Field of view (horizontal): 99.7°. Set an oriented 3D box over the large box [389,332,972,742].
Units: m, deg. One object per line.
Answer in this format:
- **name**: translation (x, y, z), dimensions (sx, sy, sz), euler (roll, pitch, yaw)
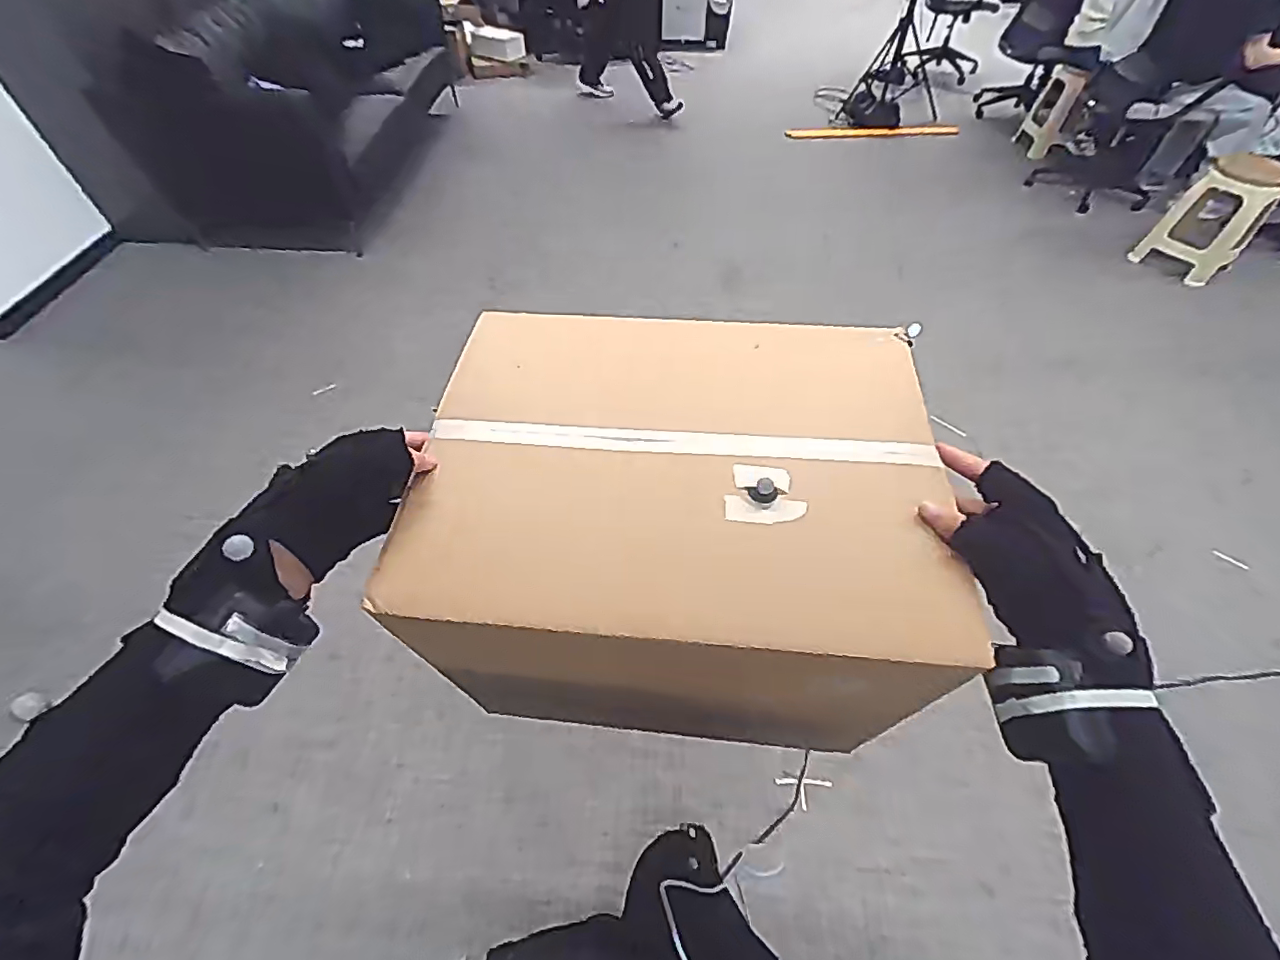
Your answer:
- **large box**: translation (0.036, 0.068, 0.569), dimensions (0.408, 0.320, 0.320), euler (3, 55, 5)
